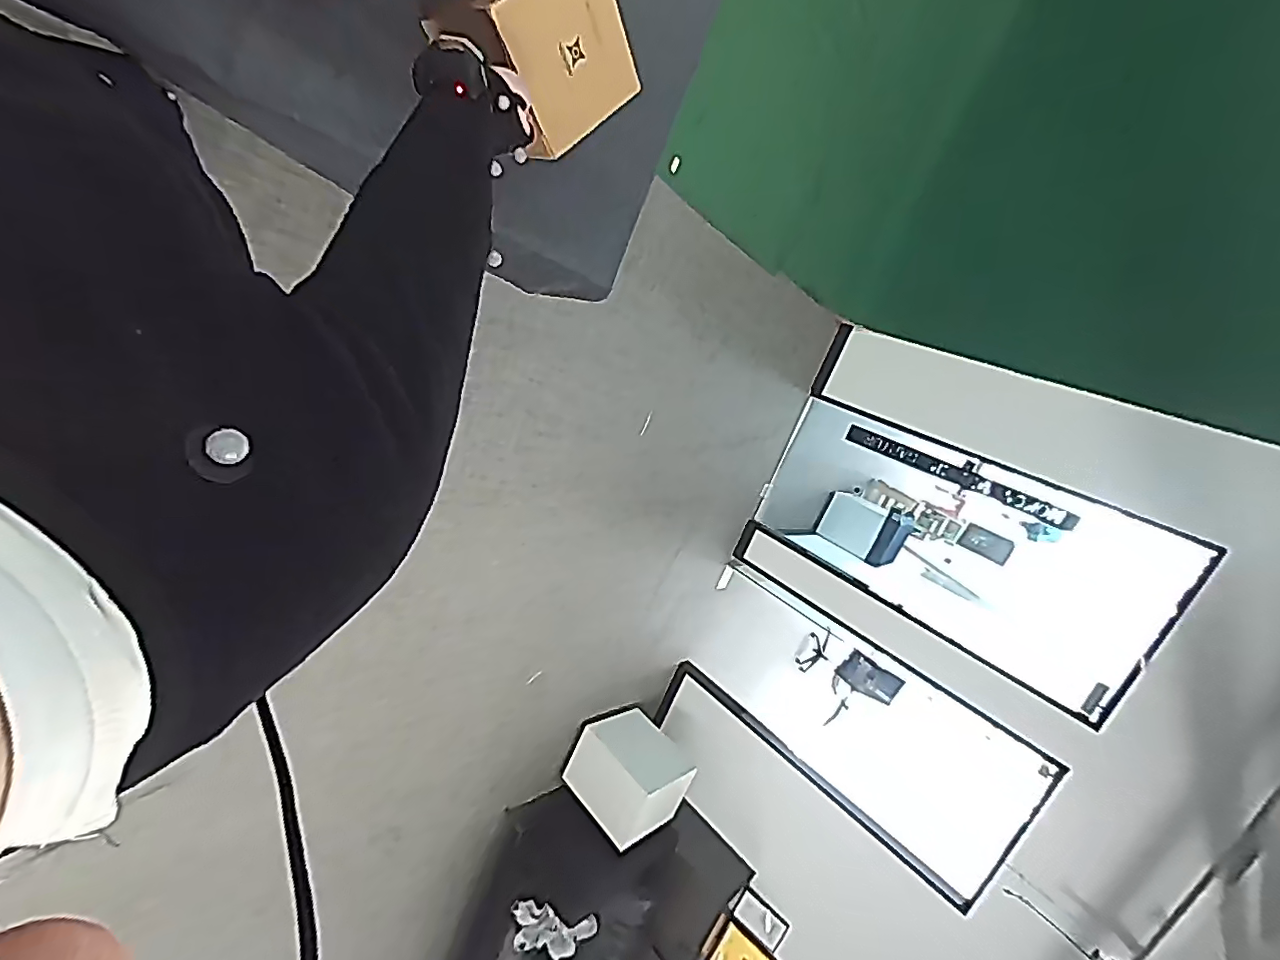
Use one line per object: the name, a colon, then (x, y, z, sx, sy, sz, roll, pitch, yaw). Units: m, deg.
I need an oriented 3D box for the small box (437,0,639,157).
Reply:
small box: (-0.137, -0.559, 0.711, 0.179, 0.176, 0.168, -48, 144, -13)
